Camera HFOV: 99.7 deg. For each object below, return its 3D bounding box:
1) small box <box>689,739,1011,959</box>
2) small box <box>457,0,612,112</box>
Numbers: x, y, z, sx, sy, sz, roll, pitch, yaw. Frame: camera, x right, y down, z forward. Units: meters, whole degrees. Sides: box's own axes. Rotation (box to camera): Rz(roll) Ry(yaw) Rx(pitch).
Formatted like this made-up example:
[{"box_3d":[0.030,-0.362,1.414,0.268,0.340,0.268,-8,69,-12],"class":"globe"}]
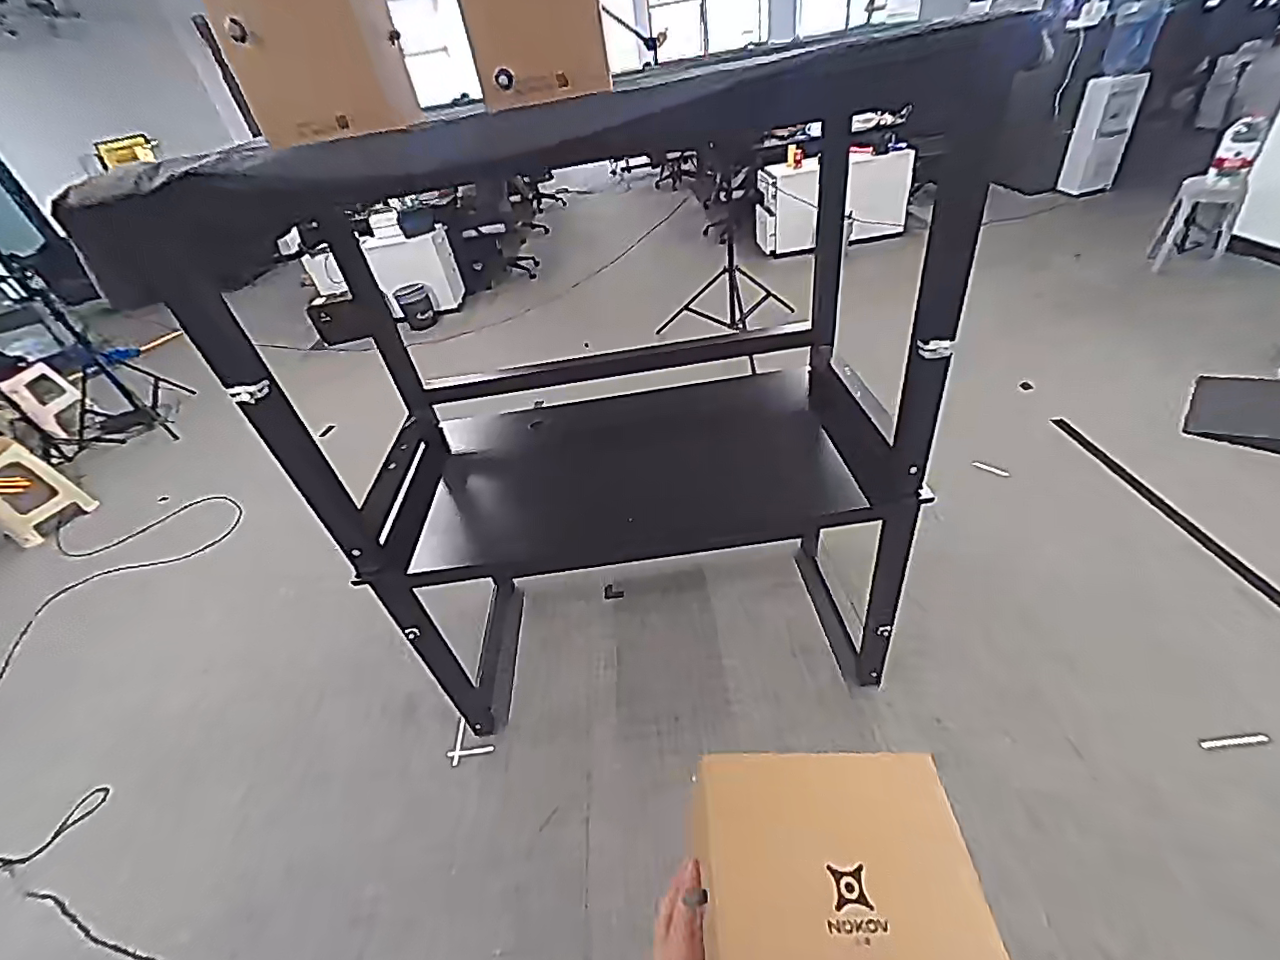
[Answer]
[{"box_3d":[0.125,0.306,0.379,0.168,0.176,0.179,0,43,0],"class":"small box"},{"box_3d":[-0.131,-0.593,0.705,0.168,0.176,0.179,-8,36,3],"class":"small box"}]
